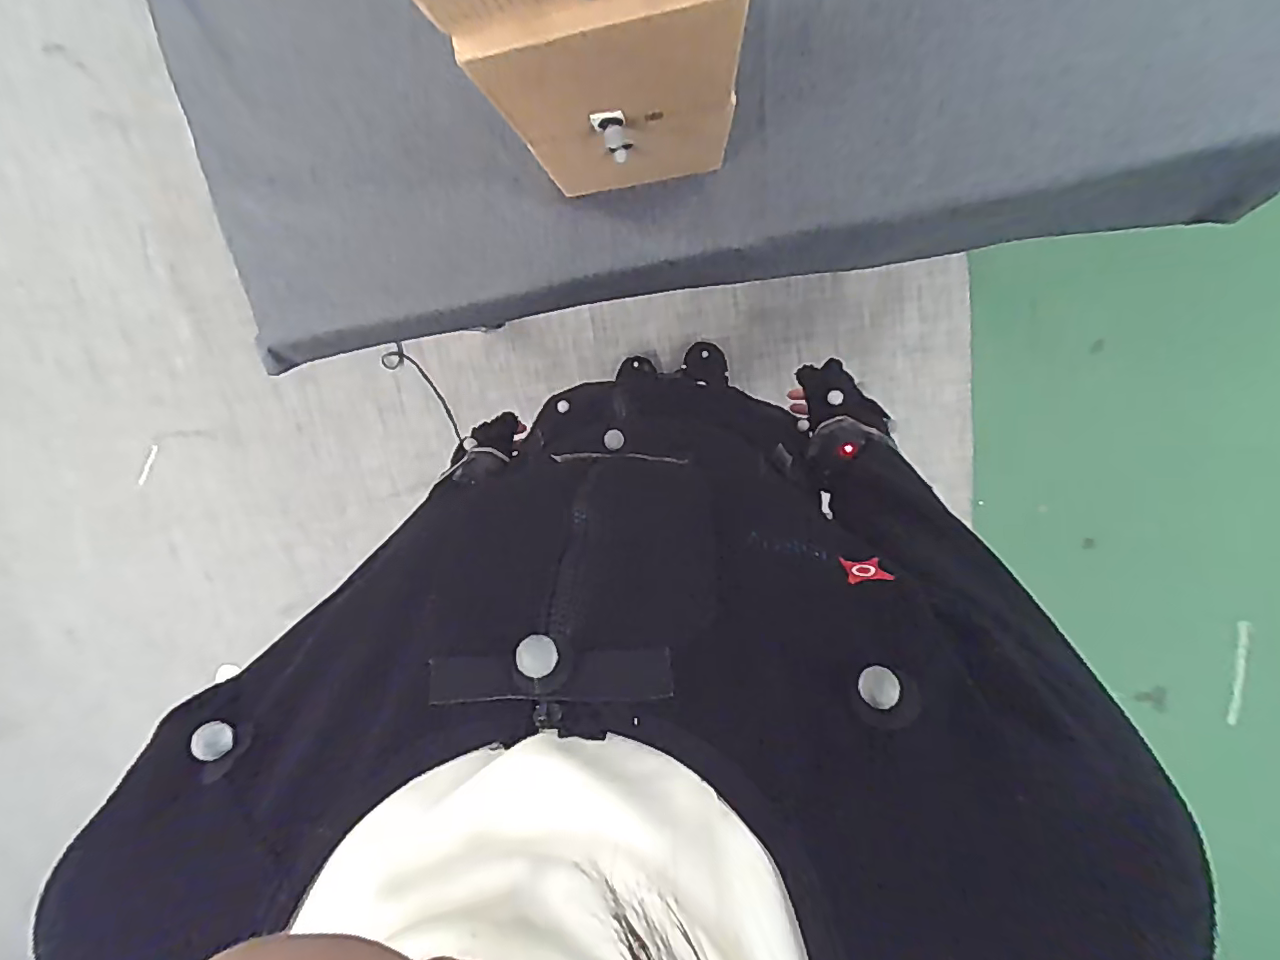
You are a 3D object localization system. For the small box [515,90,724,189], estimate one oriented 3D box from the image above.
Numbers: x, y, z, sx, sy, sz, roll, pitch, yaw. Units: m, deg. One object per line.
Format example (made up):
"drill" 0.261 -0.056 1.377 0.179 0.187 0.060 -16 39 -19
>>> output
"small box" -0.020 -0.390 0.502 0.179 0.176 0.168 -7 104 6

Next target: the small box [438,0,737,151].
"small box" -0.034 -0.347 0.347 0.168 0.176 0.179 -7 105 9
